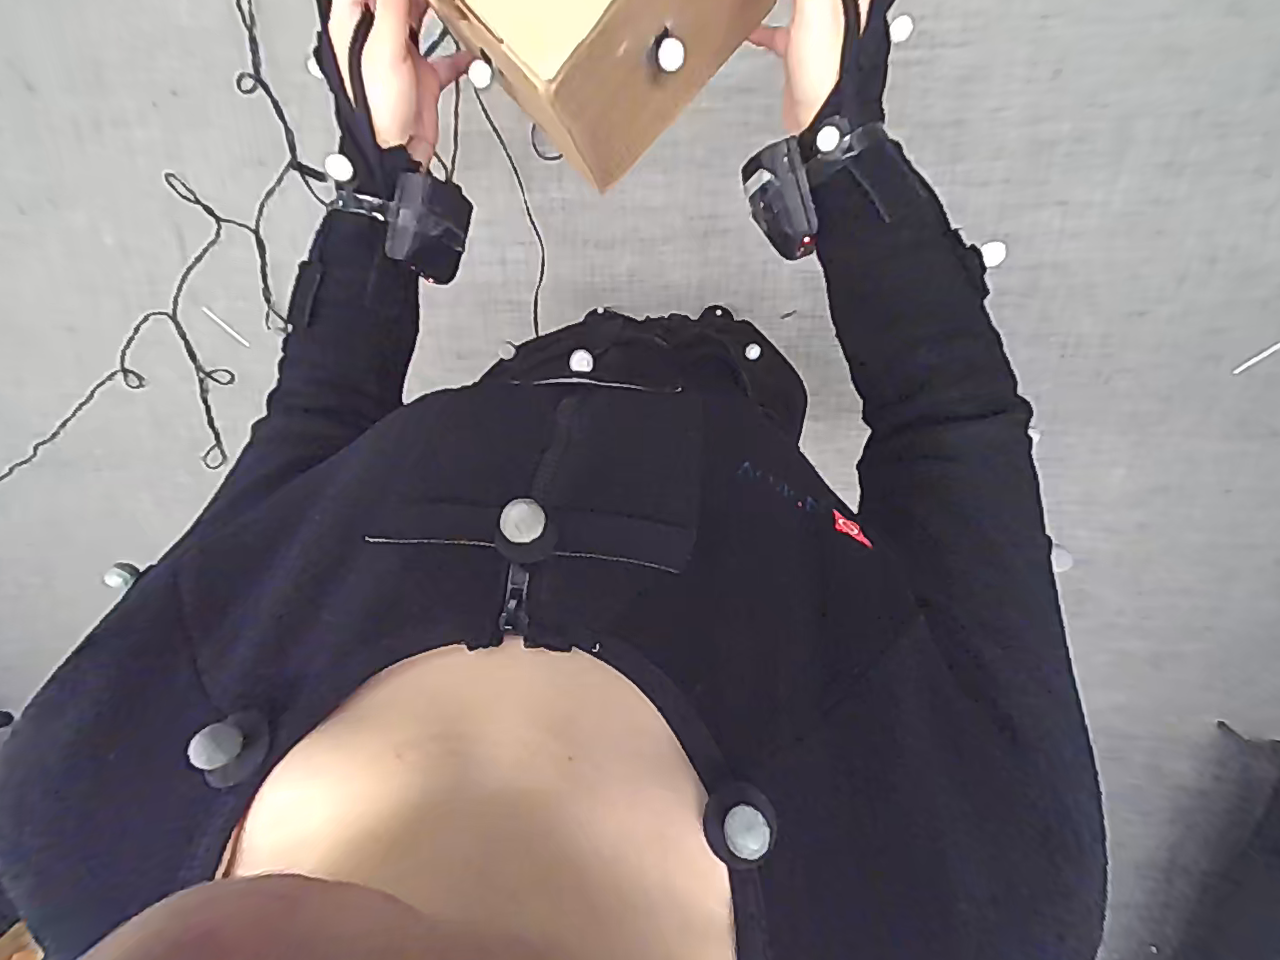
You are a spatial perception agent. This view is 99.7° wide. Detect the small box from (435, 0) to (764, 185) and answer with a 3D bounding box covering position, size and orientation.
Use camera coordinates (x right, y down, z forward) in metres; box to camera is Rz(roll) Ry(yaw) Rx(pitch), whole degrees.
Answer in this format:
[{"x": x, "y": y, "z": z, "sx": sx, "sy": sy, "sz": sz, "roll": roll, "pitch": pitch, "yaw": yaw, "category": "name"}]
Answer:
[{"x": -0.030, "y": -0.317, "z": 0.319, "sx": 0.179, "sy": 0.176, "sz": 0.168, "roll": -43, "pitch": 95, "yaw": 13, "category": "small box"}]
